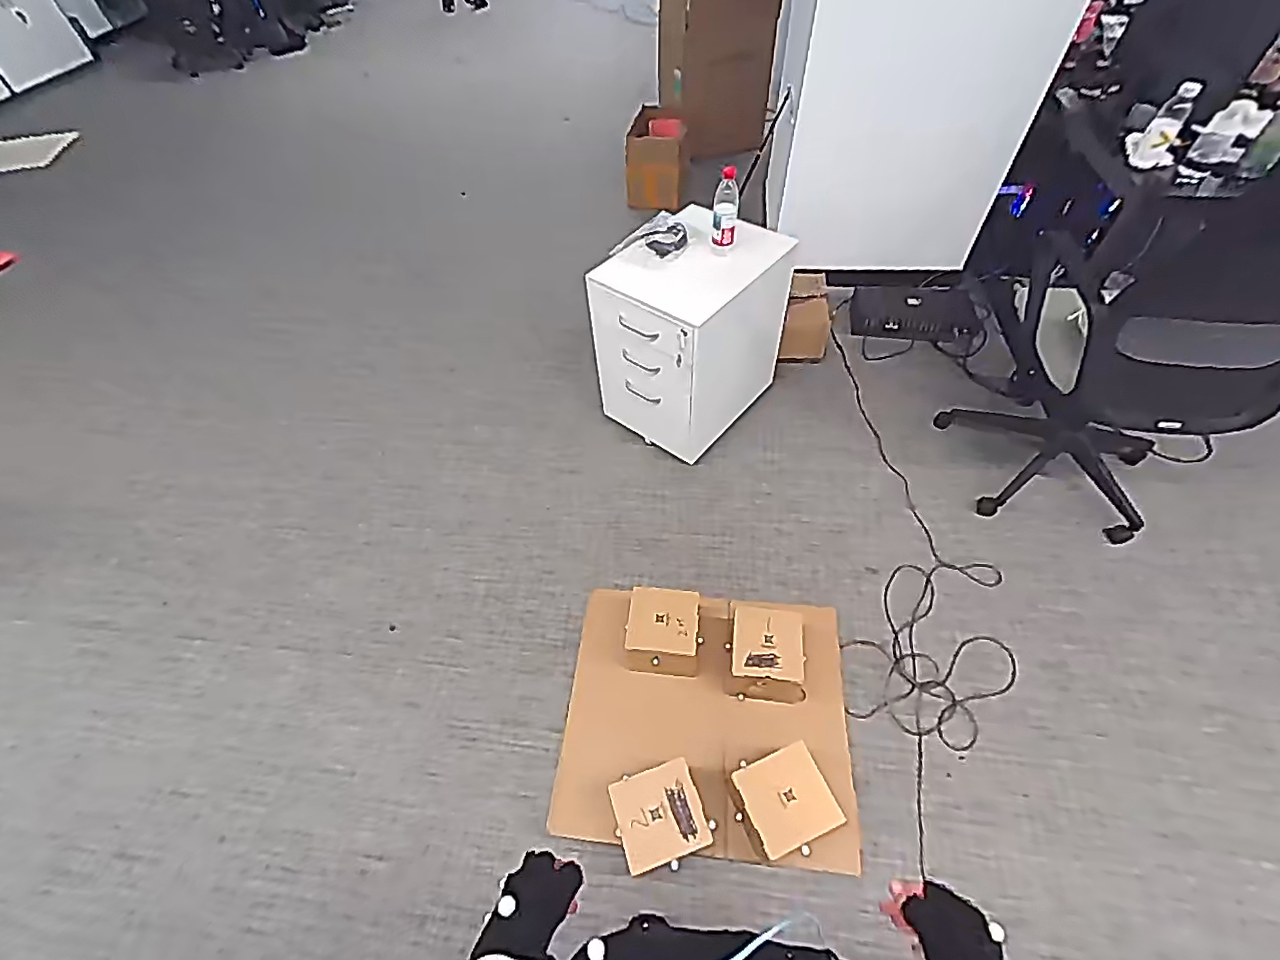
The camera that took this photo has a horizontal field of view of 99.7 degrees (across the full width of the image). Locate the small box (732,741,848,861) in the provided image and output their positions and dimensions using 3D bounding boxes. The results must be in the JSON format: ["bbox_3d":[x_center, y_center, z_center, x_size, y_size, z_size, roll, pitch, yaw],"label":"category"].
[{"bbox_3d":[0.314,0.698,1.175,0.179,0.176,0.168,-21,54,-10],"label":"small box"}]
